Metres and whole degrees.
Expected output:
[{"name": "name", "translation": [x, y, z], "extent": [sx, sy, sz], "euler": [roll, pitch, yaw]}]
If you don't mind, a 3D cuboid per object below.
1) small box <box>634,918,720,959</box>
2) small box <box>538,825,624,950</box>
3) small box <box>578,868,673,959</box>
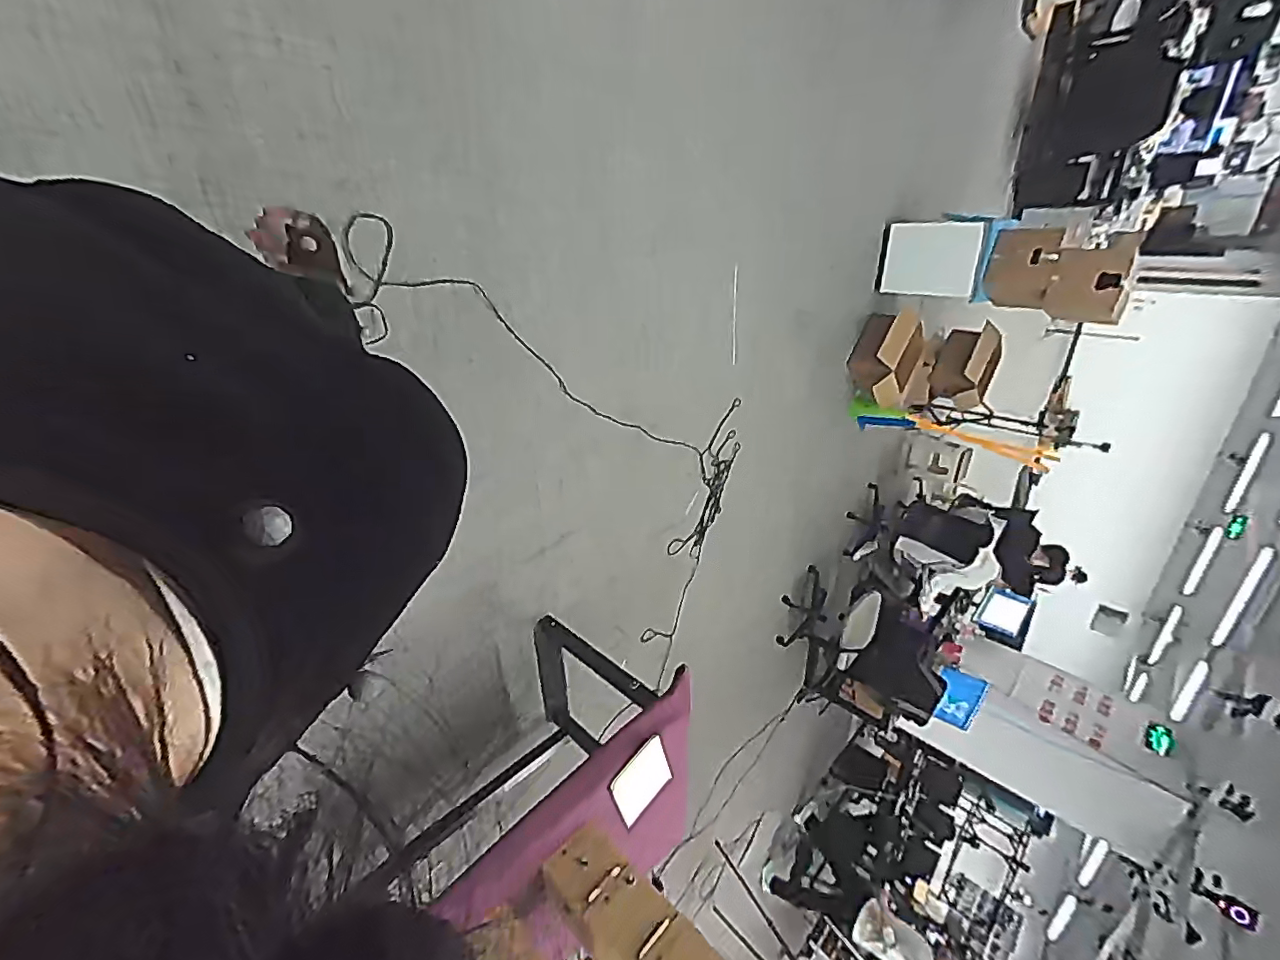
[{"name": "small box", "translation": [0.079, 1.145, 1.214], "extent": [0.168, 0.176, 0.179], "euler": [-22, 123, -40]}, {"name": "small box", "translation": [-0.155, 1.060, 1.428], "extent": [0.168, 0.176, 0.179], "euler": [-24, 123, -39]}, {"name": "small box", "translation": [-0.037, 1.102, 1.320], "extent": [0.168, 0.176, 0.179], "euler": [-24, 124, -40]}]
